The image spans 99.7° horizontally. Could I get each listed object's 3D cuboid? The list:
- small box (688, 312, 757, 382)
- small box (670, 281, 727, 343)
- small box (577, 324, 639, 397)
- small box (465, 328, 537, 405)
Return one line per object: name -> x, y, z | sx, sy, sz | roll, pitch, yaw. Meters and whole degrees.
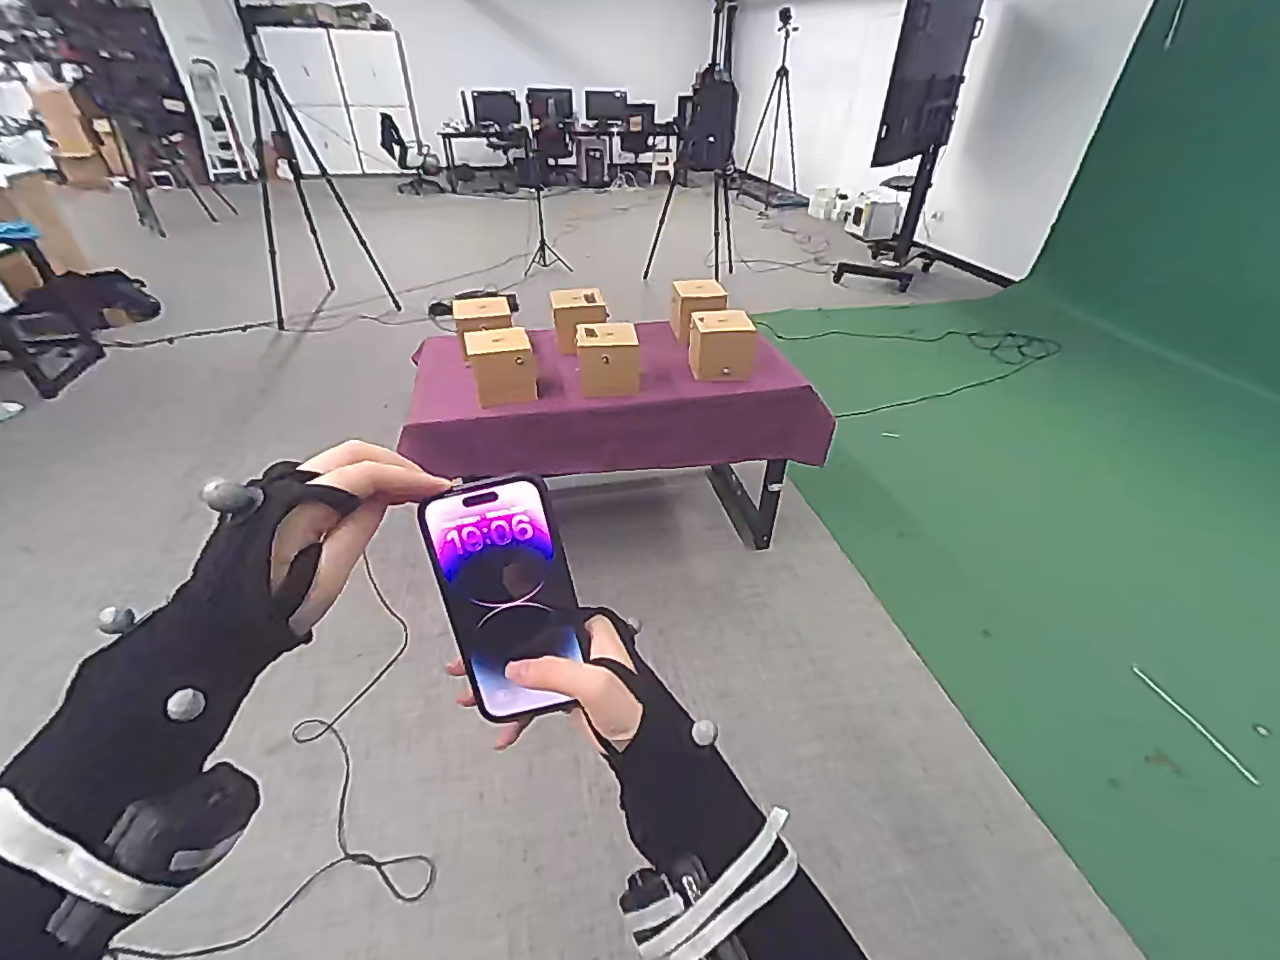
small box -> 0.256, -0.424, 1.726 | 0.179, 0.176, 0.168 | -2, 37, -5
small box -> 0.206, -0.614, 1.971 | 0.168, 0.176, 0.179 | -5, 39, -7
small box -> -0.098, -0.361, 1.635 | 0.179, 0.176, 0.168 | -2, 38, -6
small box -> -0.407, -0.333, 1.592 | 0.179, 0.176, 0.168 | -9, 38, -16
